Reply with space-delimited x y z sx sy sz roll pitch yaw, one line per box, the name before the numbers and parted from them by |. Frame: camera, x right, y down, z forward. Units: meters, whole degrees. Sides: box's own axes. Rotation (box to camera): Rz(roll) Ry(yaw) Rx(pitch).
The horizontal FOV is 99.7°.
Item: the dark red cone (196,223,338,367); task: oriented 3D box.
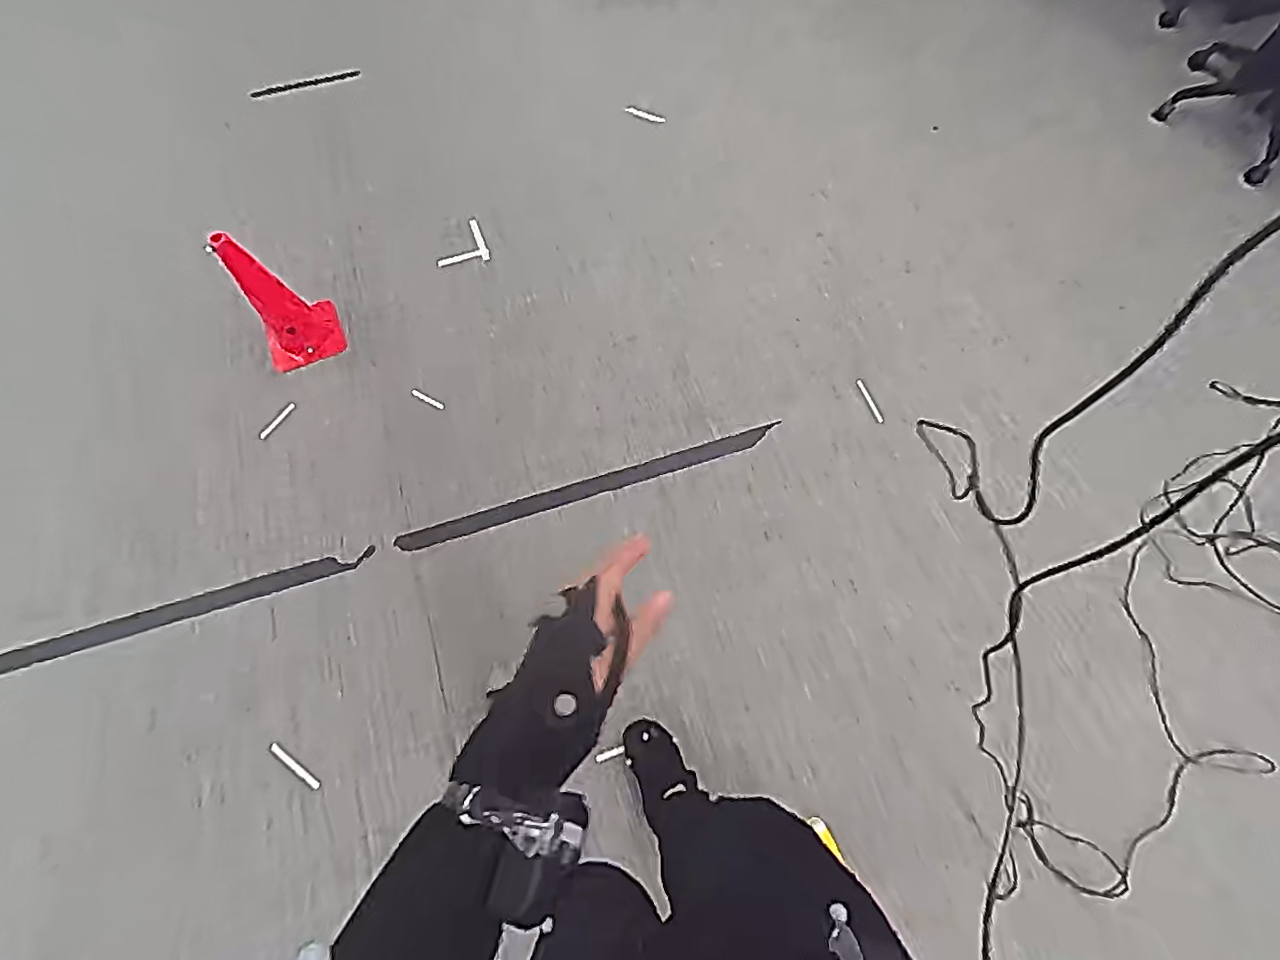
dark red cone | -0.965 -0.479 1.369 0.202 0.394 0.201 -25 71 -10
